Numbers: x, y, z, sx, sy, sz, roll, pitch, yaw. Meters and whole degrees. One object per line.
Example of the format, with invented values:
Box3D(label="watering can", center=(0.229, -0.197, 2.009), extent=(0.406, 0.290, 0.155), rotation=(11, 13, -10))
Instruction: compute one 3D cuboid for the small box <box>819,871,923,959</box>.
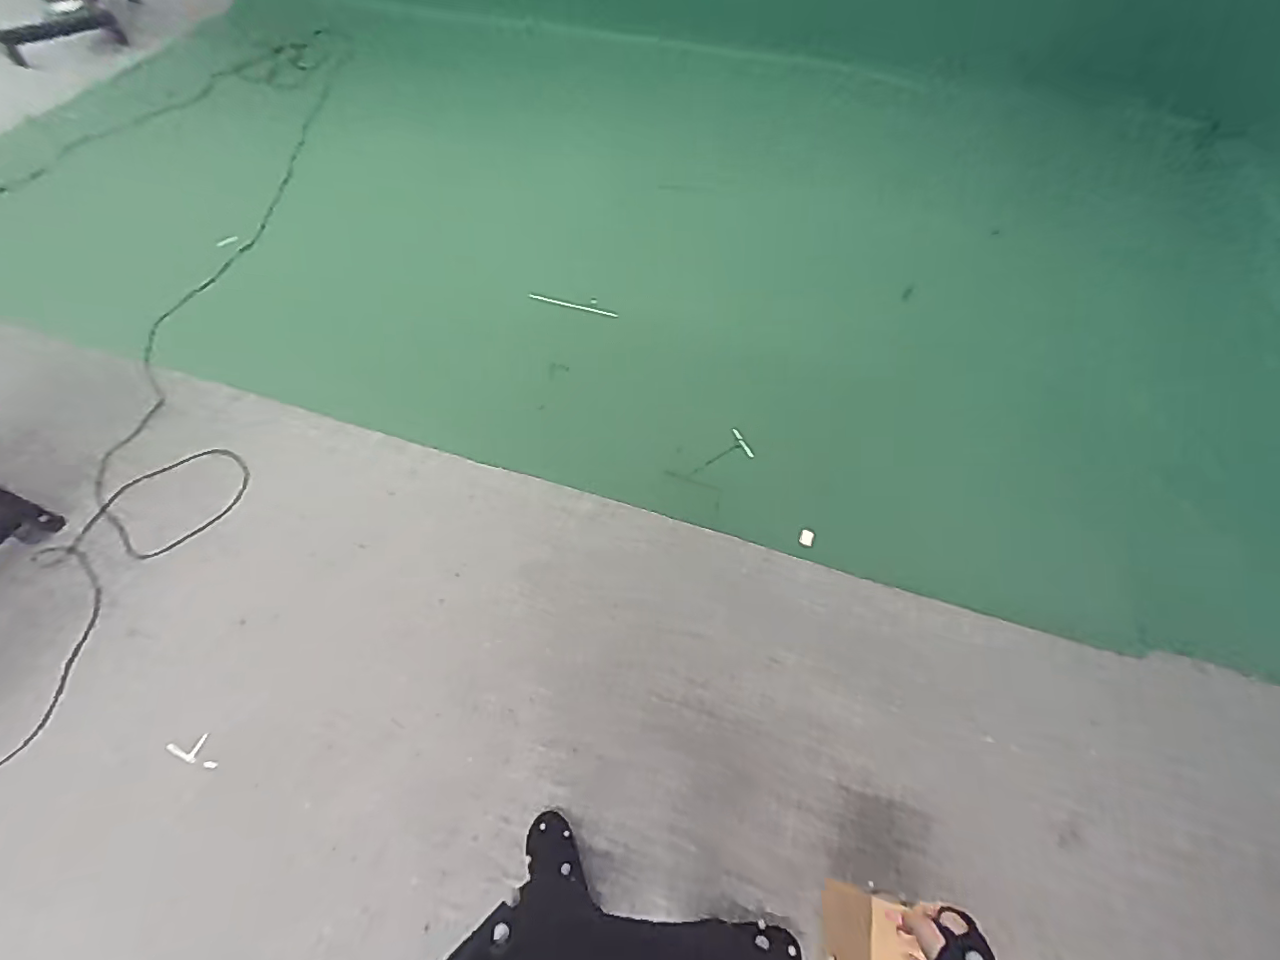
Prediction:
Box3D(label="small box", center=(0.463, 0.908, 1.074), extent=(0.168, 0.176, 0.179), rotation=(13, 59, 8))

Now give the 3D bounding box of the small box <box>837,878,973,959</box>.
Box3D(label="small box", center=(0.450, 0.822, 0.935), extent=(0.168, 0.176, 0.179), rotation=(13, 59, 8))
